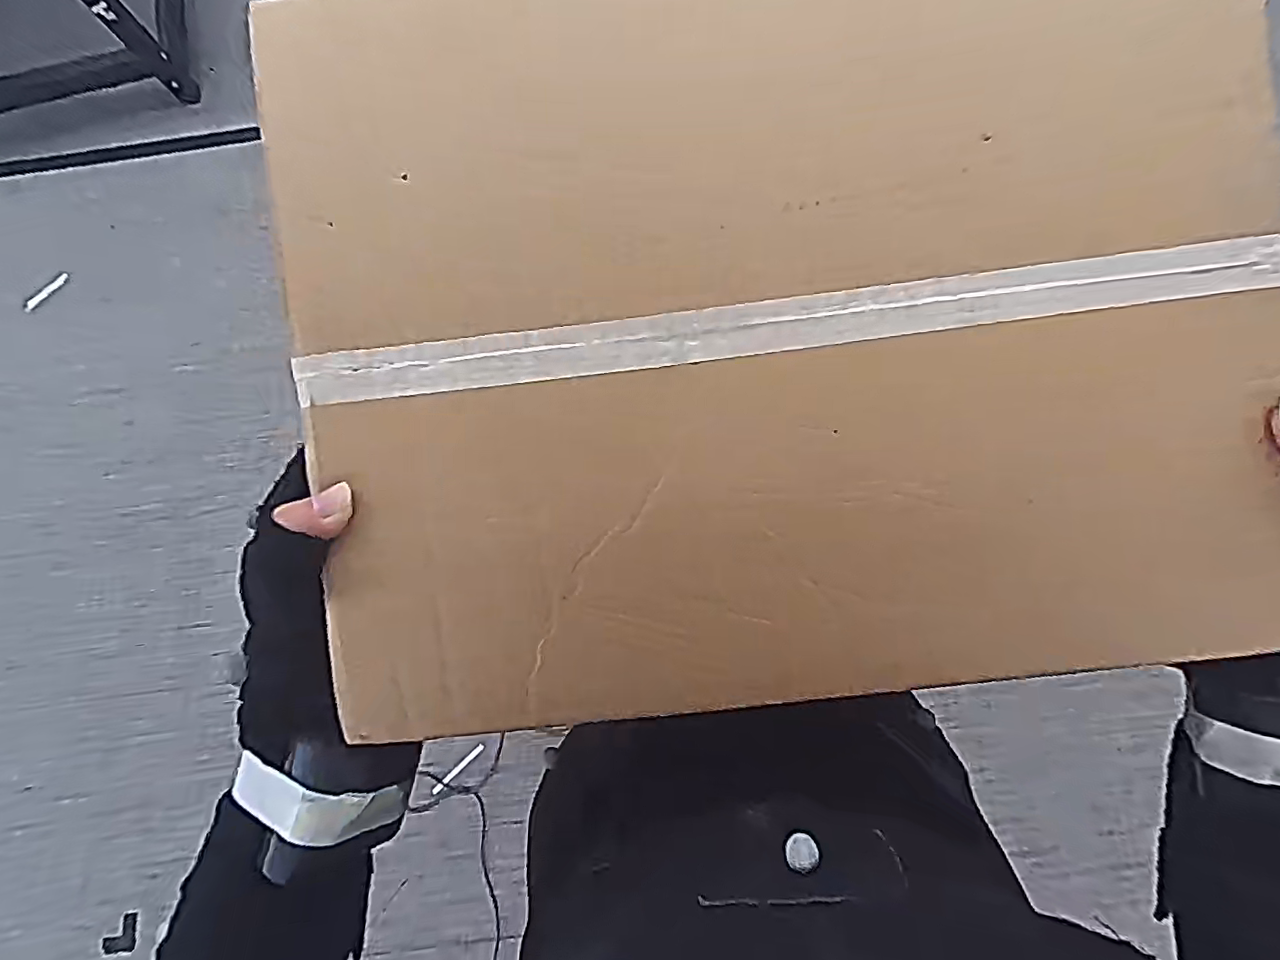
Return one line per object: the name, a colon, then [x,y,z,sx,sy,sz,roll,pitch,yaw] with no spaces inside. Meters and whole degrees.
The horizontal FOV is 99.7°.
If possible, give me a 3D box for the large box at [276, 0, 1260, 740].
large box: [0.060,-0.064,0.383,0.408,0.320,0.320,-7,91,2]
